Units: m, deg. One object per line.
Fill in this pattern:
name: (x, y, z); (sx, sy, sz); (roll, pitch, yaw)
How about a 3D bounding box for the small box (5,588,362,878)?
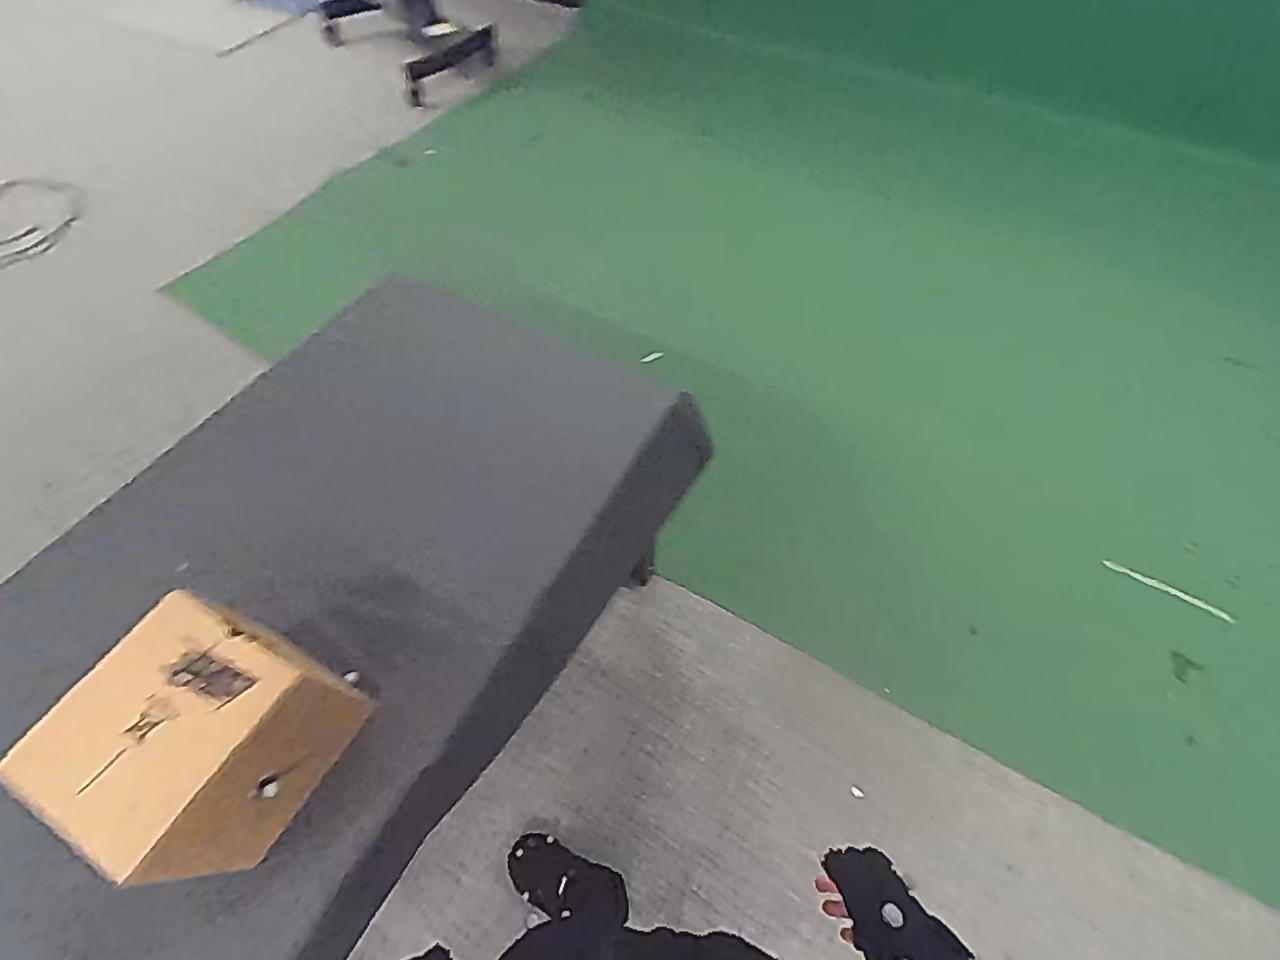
small box: (-0.409, 0.241, 0.529); (0.168, 0.176, 0.179); (25, 62, 14)
